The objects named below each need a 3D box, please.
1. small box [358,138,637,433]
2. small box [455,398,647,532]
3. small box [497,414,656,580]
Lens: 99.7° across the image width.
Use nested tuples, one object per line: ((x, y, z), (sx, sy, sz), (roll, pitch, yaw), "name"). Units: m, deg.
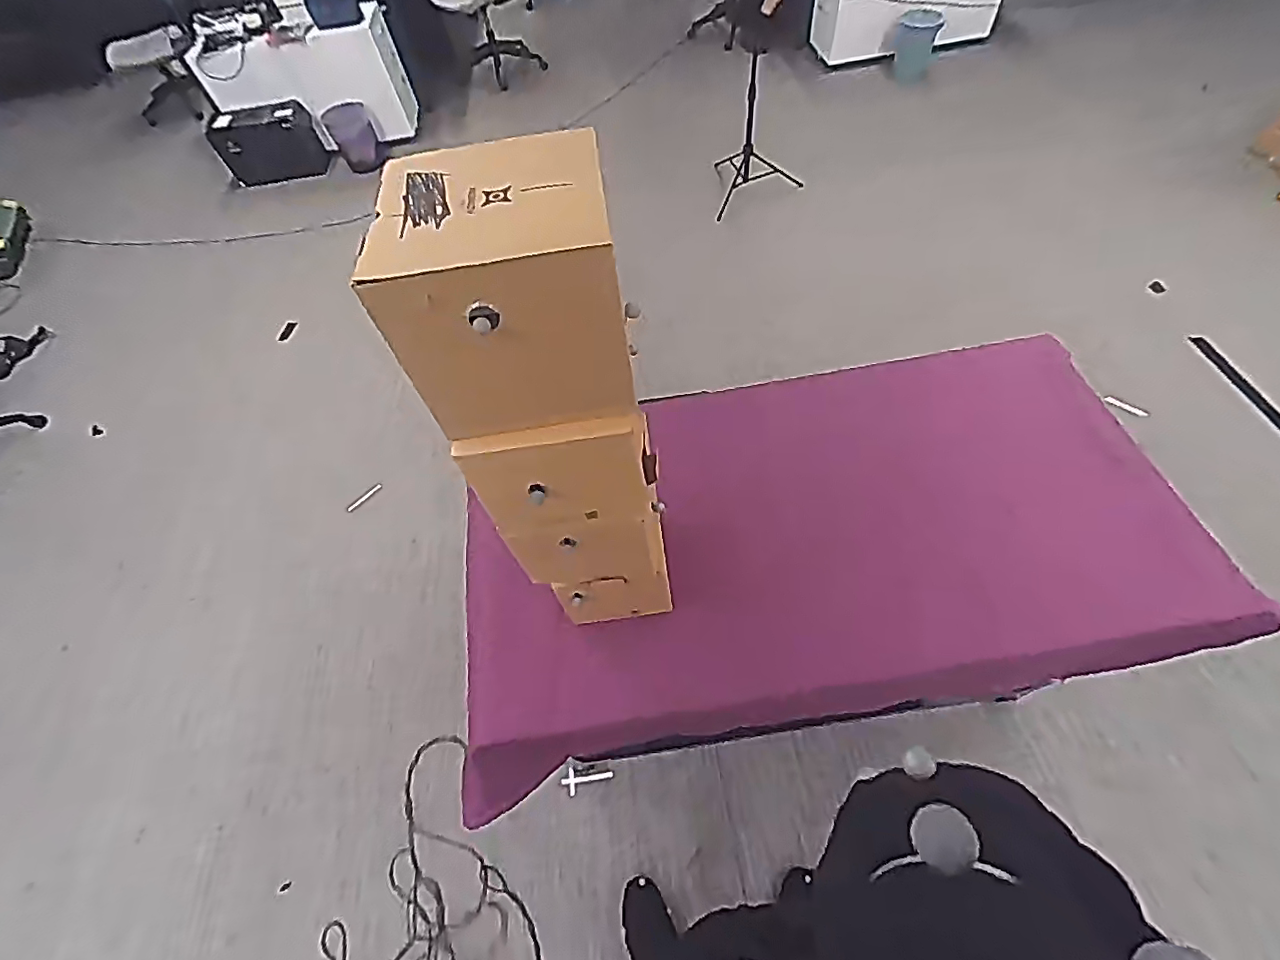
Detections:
((-0.104, -0.158, 0.468), (0.179, 0.176, 0.168), (-9, 56, 0), "small box")
((-0.087, -0.055, 0.596), (0.168, 0.176, 0.179), (-8, 56, 1), "small box")
((-0.073, 0.030, 0.734), (0.179, 0.176, 0.168), (-3, 57, 5), "small box")
